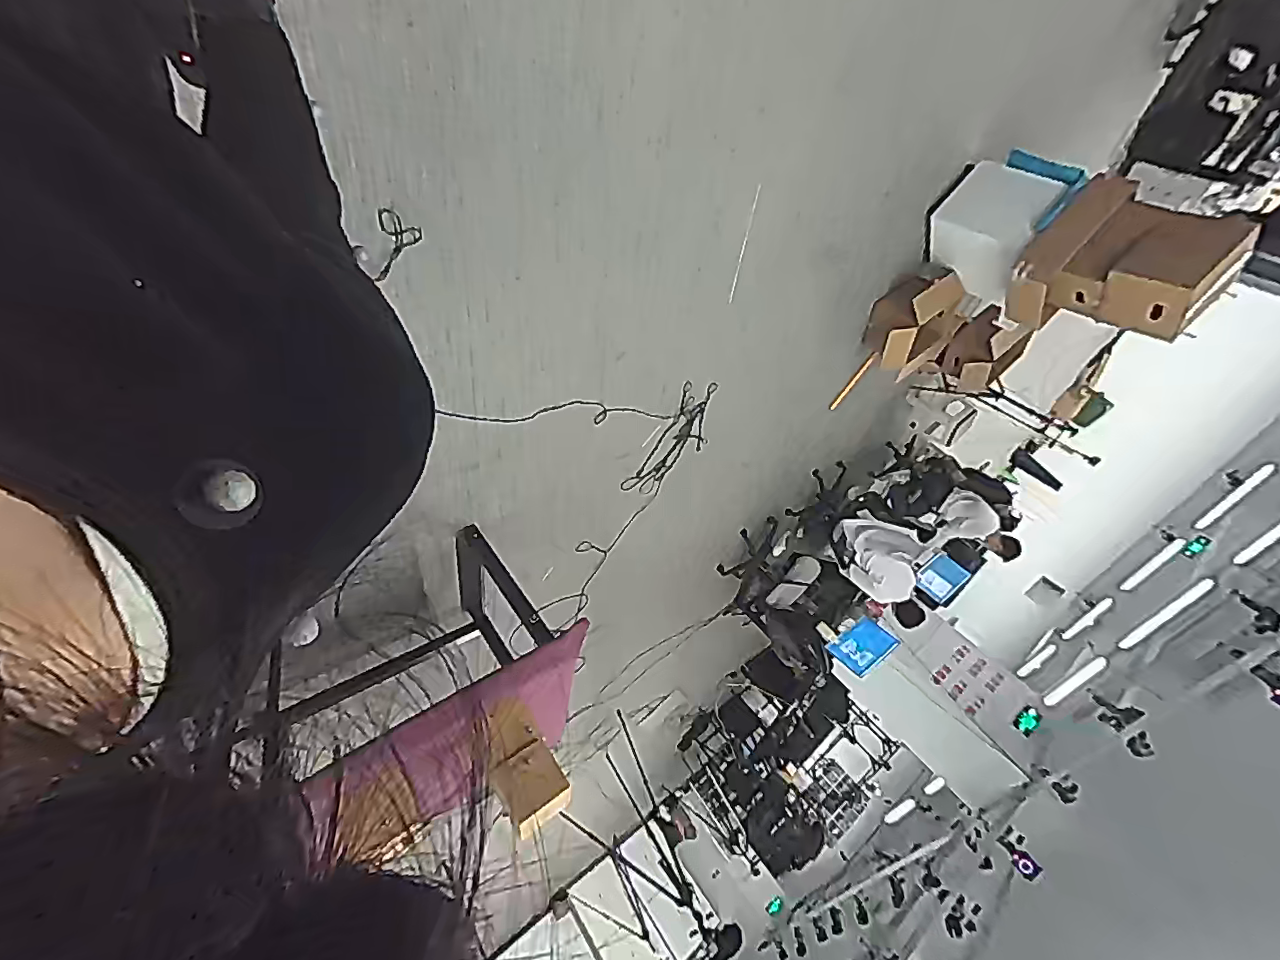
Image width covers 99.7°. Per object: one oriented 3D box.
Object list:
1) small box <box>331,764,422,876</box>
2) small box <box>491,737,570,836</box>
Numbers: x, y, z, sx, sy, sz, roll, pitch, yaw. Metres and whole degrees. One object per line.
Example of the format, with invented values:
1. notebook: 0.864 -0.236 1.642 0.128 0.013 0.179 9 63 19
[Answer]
1. small box: -0.713 0.917 1.470 0.179 0.176 0.168 -19 140 -35
2. small box: -0.323 0.889 1.580 0.168 0.176 0.179 -24 144 -31
